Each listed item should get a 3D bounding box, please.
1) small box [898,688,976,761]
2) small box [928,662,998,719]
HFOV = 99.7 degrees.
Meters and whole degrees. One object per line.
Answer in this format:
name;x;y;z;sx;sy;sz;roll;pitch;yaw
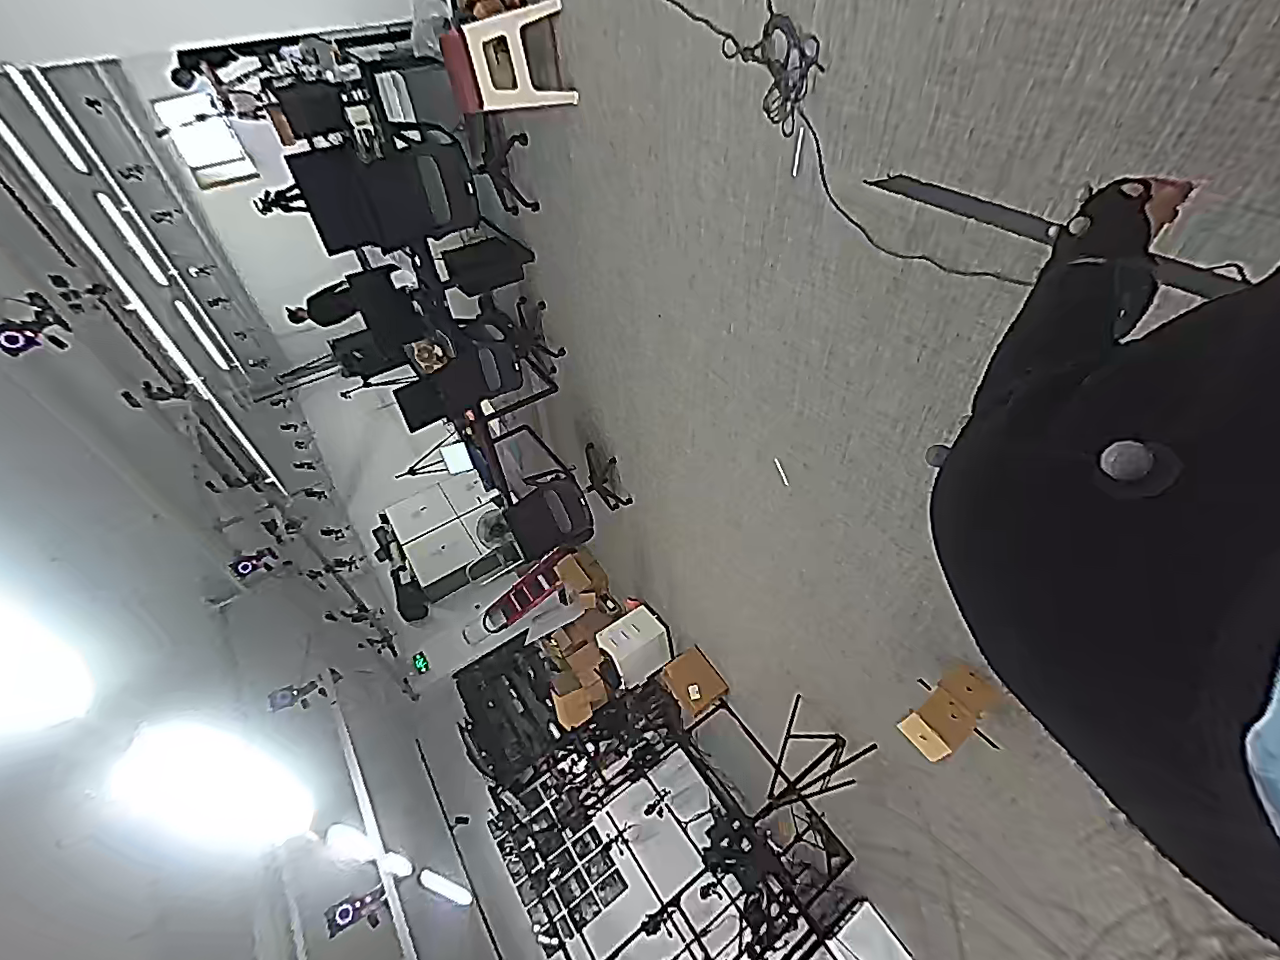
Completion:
small box;1.121;0.920;2.039;0.168;0.176;0.179;47;154;31
small box;1.250;0.847;2.107;0.168;0.176;0.179;44;153;37
